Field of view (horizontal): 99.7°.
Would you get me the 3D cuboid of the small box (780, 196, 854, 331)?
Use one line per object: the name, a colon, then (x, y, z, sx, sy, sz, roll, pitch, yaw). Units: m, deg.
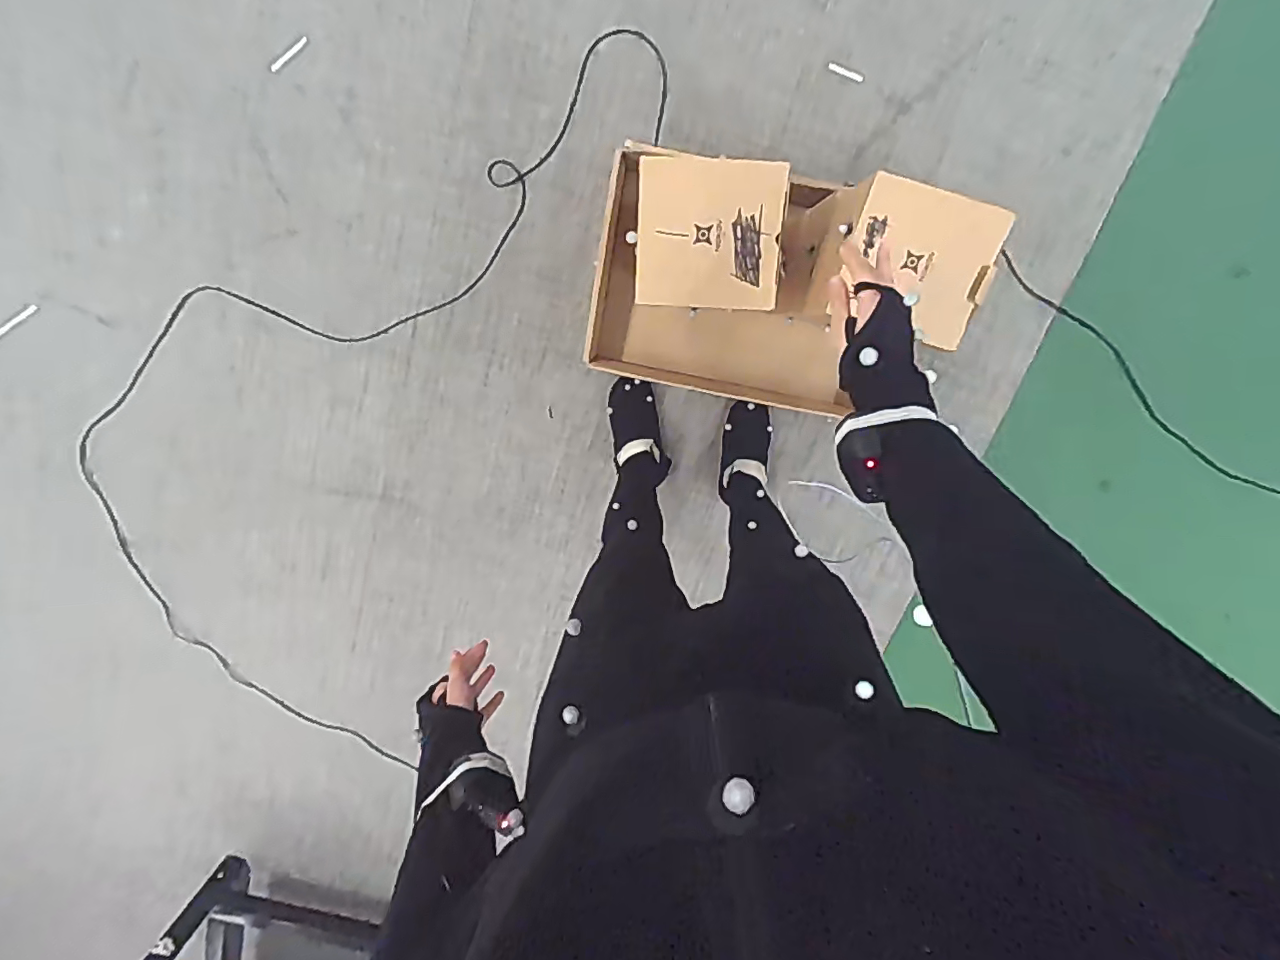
small box: (0.341, -0.332, 0.878, 0.168, 0.176, 0.179, 13, 108, -1)

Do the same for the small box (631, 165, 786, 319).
small box: (0.080, -0.308, 0.724, 0.179, 0.176, 0.168, 2, 108, 0)

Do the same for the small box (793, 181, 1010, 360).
small box: (0.330, -0.271, 0.724, 0.179, 0.176, 0.168, 16, 107, -3)
